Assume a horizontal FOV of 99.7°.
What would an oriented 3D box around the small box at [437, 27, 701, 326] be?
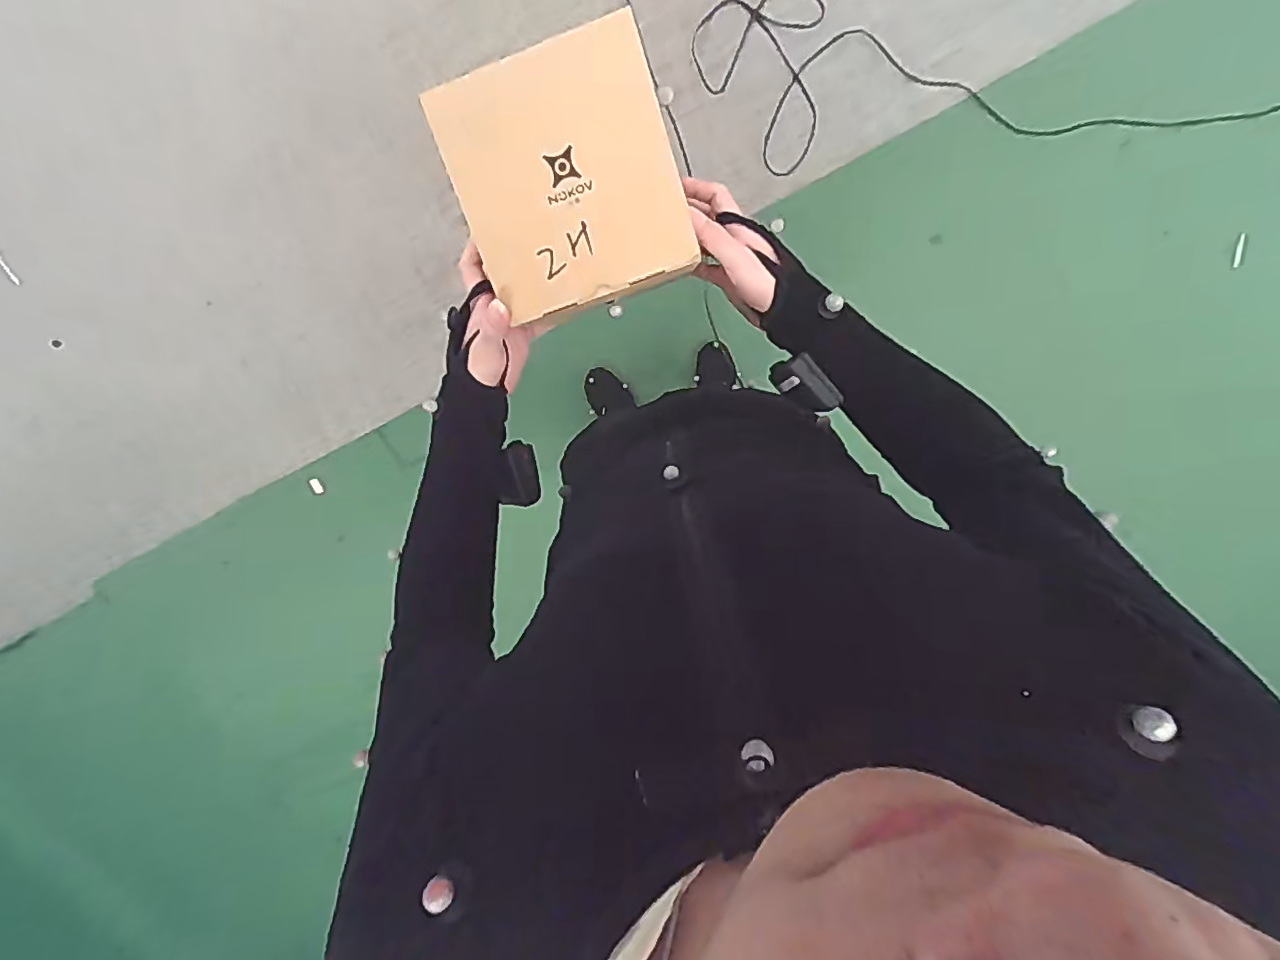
[{"bbox_3d":[-0.051,-0.248,0.495,0.168,0.176,0.179,-17,106,6],"label":"small box"}]
